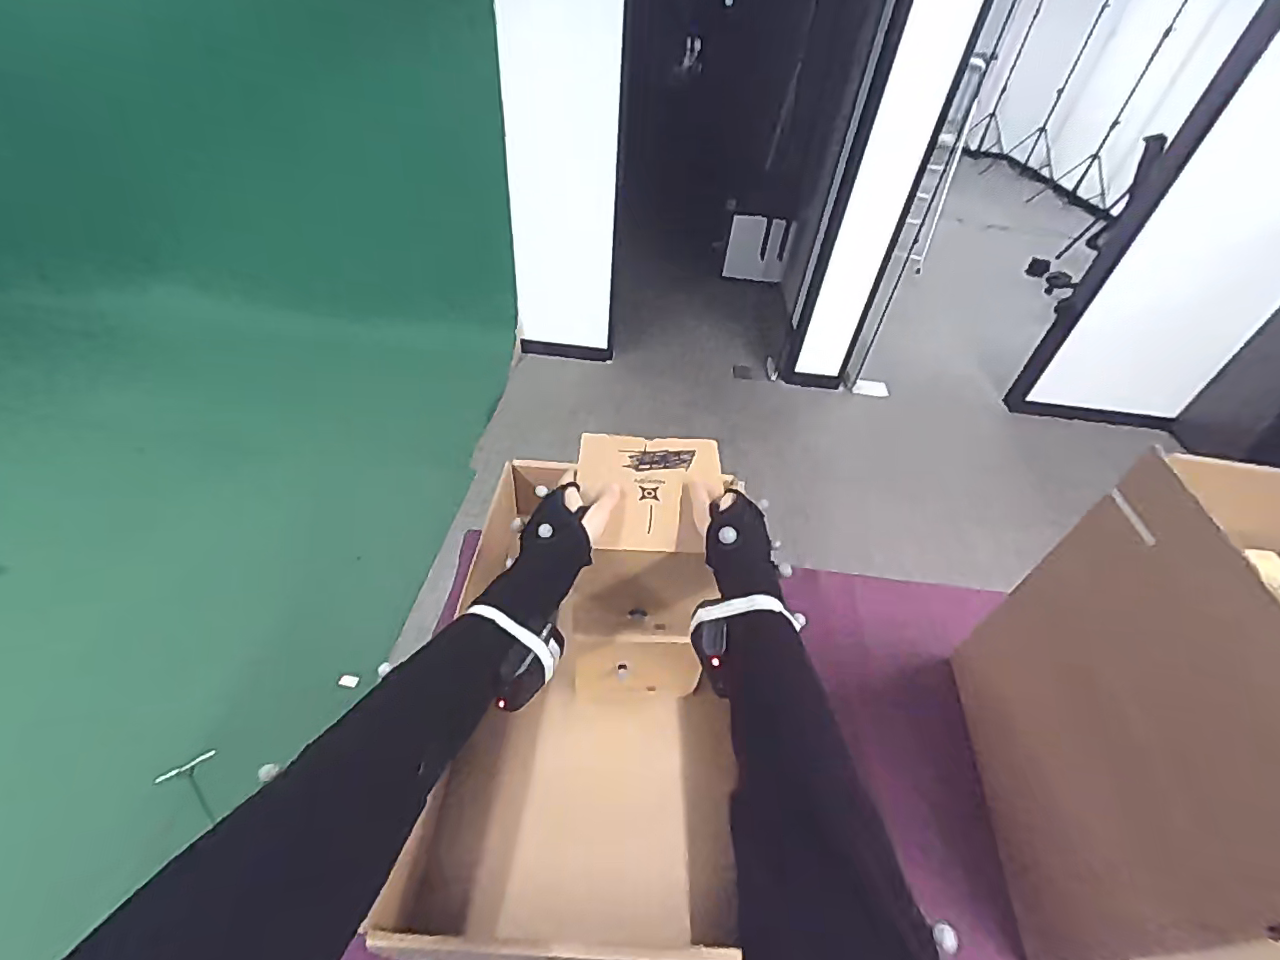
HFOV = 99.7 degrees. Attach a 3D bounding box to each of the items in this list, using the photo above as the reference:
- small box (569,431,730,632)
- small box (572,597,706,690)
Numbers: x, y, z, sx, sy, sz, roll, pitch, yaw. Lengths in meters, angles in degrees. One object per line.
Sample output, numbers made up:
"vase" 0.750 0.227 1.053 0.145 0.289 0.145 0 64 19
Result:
"small box" 0.007 0.062 0.653 0.168 0.176 0.179 2 47 -1
"small box" -0.003 0.182 0.765 0.168 0.176 0.179 2 46 -3
